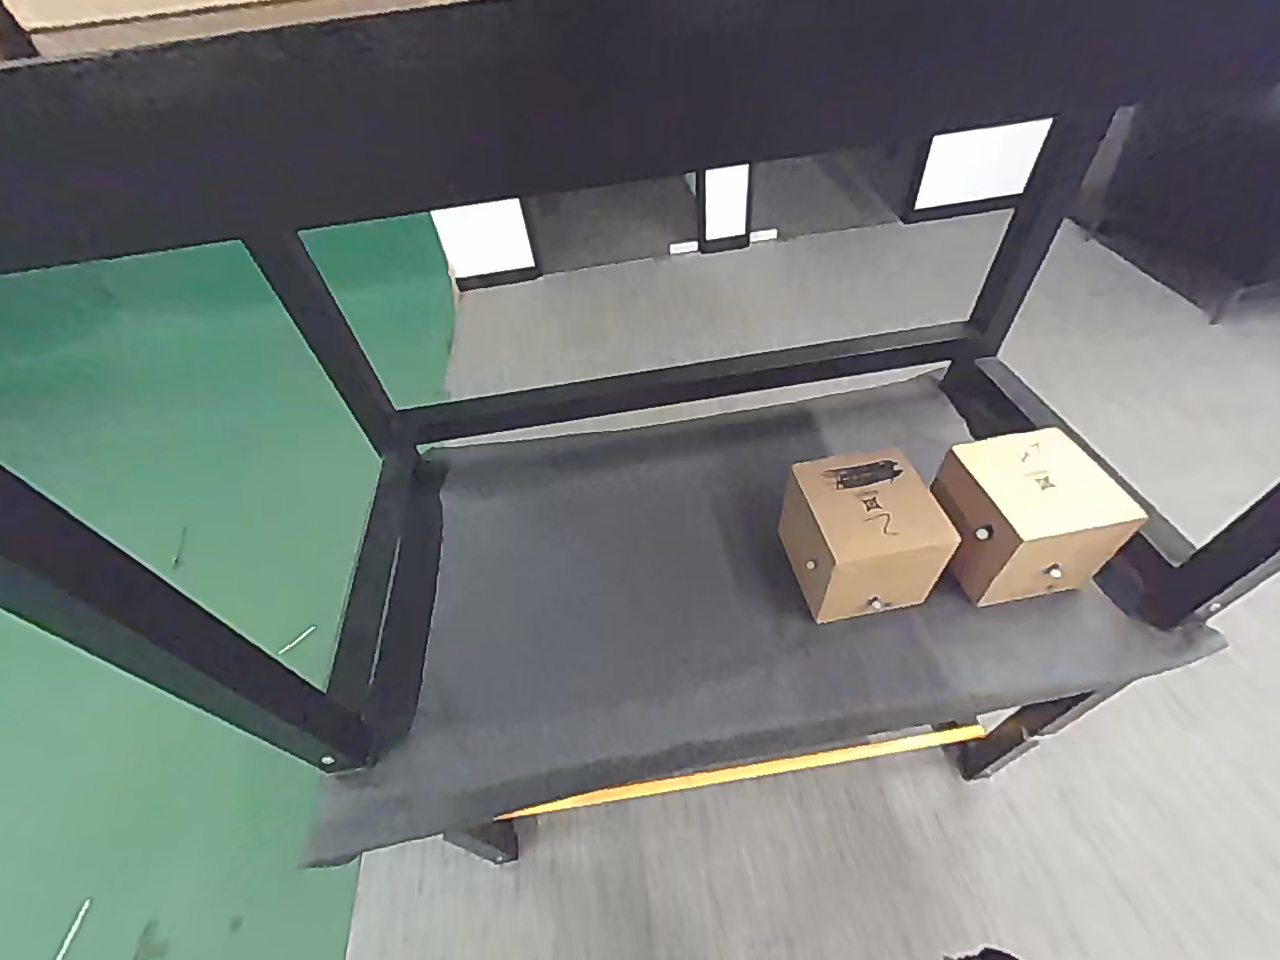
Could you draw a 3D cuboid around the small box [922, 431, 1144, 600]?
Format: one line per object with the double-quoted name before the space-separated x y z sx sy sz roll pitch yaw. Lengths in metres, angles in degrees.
"small box" 0.550 0.058 0.789 0.168 0.176 0.179 -10 47 -2
